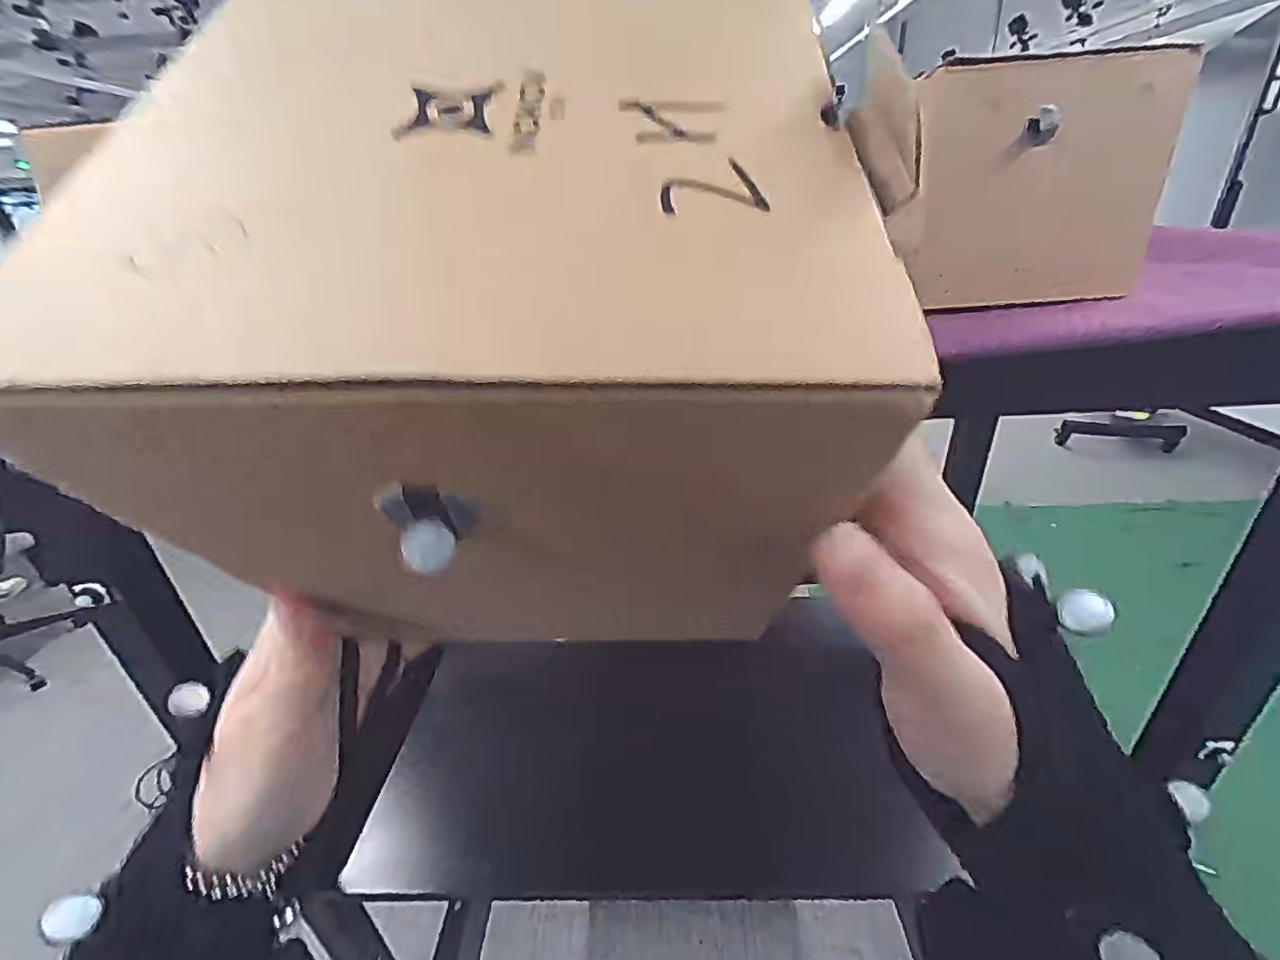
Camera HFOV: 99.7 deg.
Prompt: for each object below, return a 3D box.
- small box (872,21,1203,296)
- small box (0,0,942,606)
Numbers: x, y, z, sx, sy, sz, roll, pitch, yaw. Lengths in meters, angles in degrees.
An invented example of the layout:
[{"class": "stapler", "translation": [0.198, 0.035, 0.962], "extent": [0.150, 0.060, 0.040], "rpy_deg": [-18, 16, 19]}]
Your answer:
[{"class": "small box", "translation": [0.300, -0.257, 0.468], "extent": [0.179, 0.176, 0.168], "rpy_deg": [-3, 26, 2]}, {"class": "small box", "translation": [-0.037, -0.057, 0.193], "extent": [0.179, 0.176, 0.168], "rpy_deg": [0, 62, -1]}]
